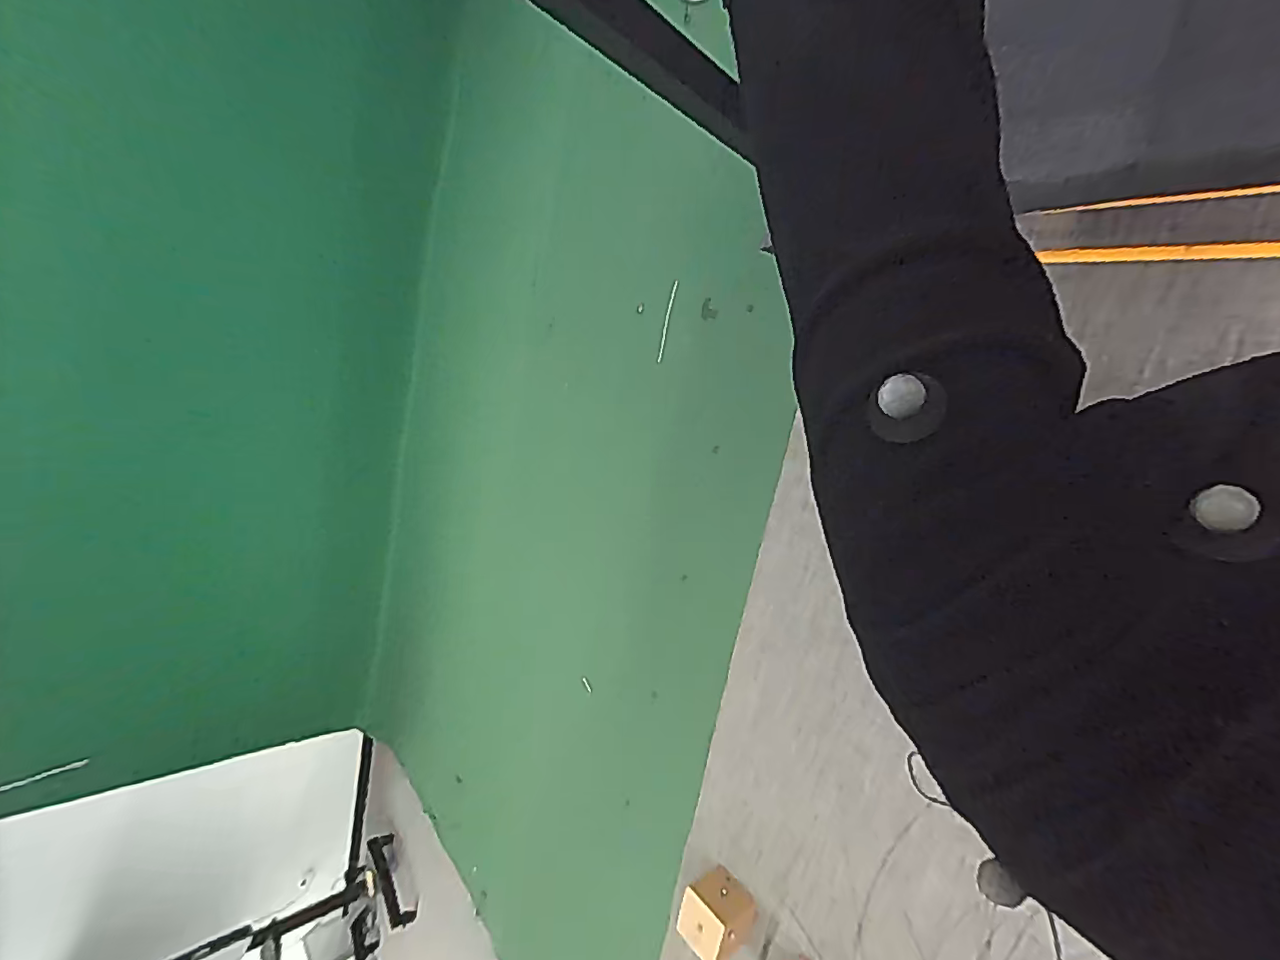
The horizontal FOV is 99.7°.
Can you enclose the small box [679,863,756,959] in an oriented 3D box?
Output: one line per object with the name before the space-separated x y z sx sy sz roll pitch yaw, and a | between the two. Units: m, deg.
small box | 0.258 1.417 1.776 0.168 0.176 0.179 22 104 46
